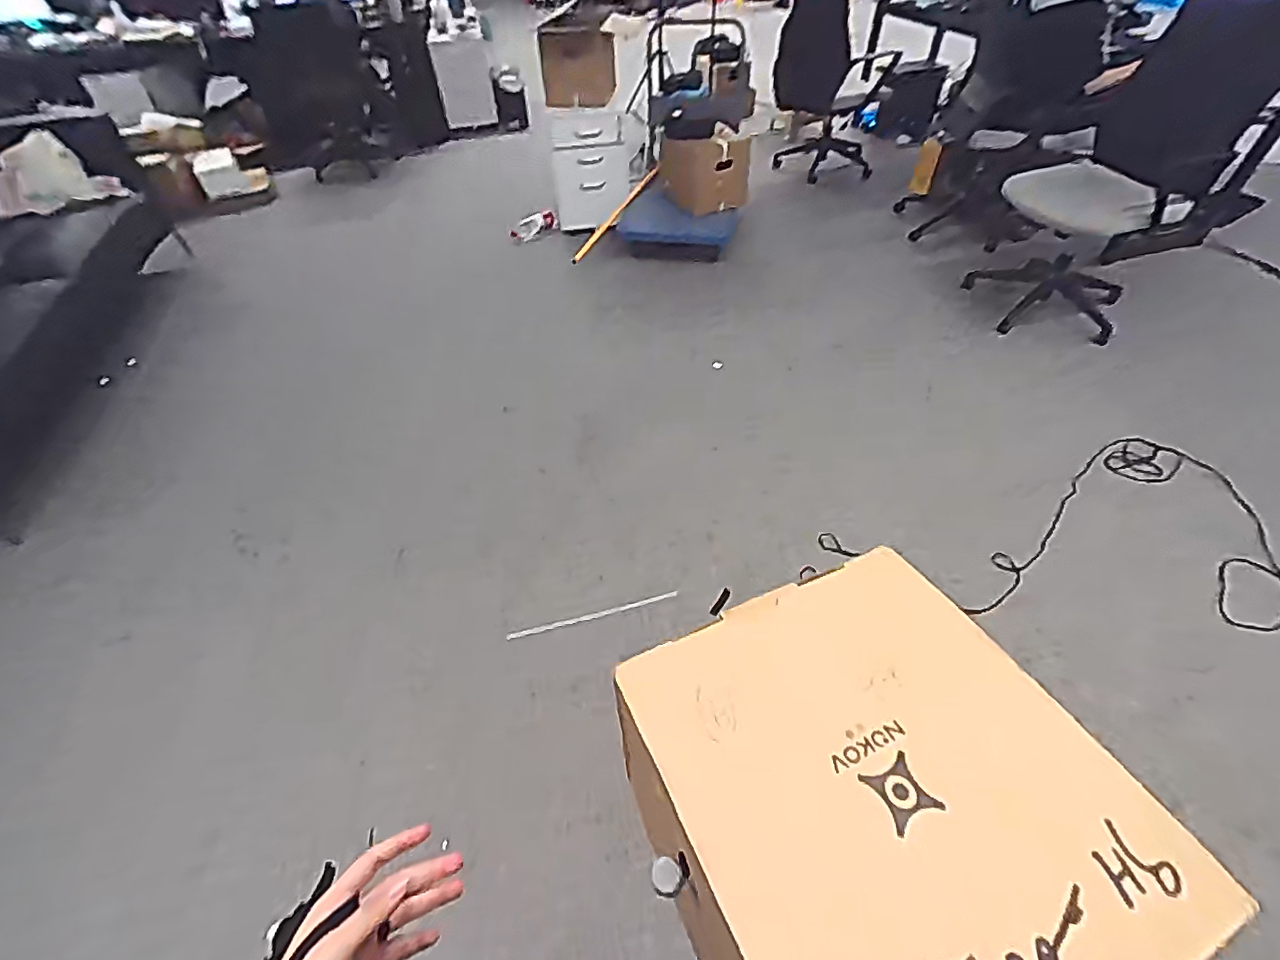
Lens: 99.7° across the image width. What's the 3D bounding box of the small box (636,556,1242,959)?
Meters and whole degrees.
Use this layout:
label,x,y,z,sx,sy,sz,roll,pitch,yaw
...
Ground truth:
label,x,y,z,sx,sy,sz,roll,pitch,yaw
small box,0.106,0.177,0.279,0.168,0.176,0.179,-19,46,-16
